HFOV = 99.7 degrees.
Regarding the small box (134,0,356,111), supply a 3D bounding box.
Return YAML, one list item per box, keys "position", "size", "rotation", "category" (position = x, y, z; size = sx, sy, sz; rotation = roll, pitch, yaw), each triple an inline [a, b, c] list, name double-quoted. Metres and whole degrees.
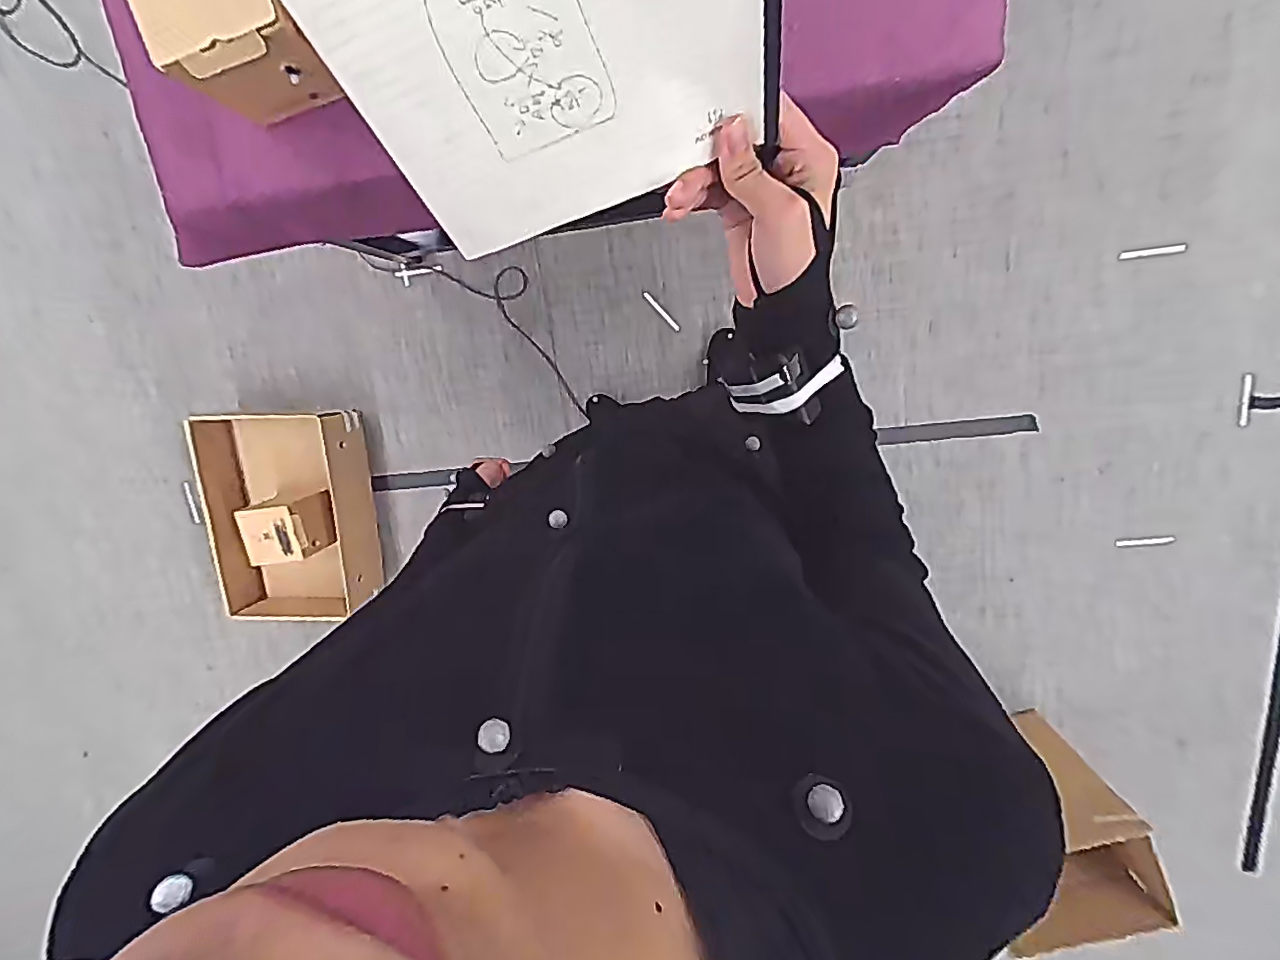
- position: [-0.499, -0.603, 0.683]
  size: [0.168, 0.176, 0.179]
  rotation: [-14, 102, 7]
  category: "small box"
